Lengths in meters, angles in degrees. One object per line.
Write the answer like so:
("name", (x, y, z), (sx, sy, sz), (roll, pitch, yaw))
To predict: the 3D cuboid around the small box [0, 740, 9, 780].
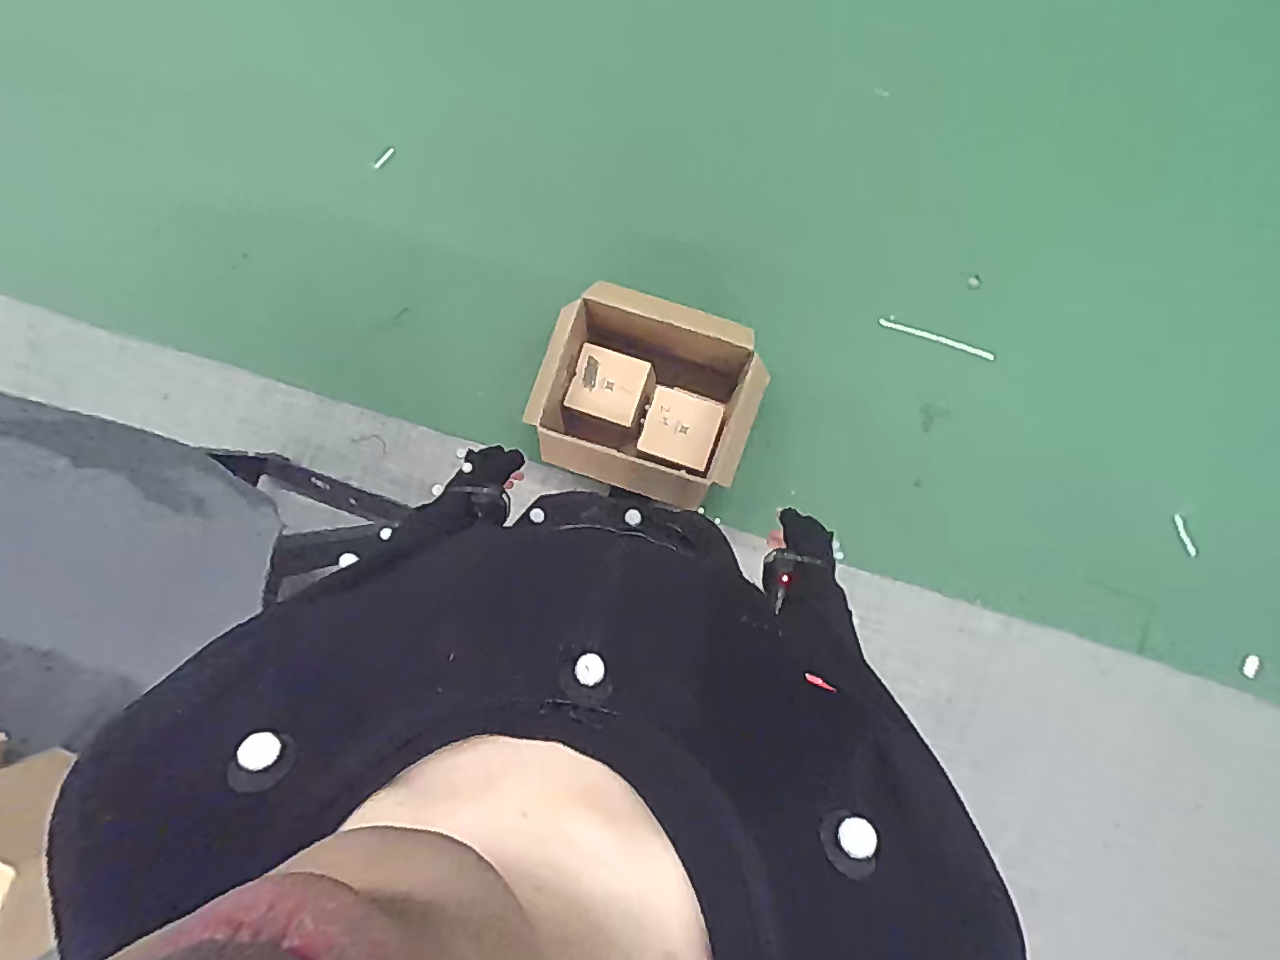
("small box", (-1.017, 0.425, 0.714), (0.168, 0.176, 0.179), (16, 91, 2))
